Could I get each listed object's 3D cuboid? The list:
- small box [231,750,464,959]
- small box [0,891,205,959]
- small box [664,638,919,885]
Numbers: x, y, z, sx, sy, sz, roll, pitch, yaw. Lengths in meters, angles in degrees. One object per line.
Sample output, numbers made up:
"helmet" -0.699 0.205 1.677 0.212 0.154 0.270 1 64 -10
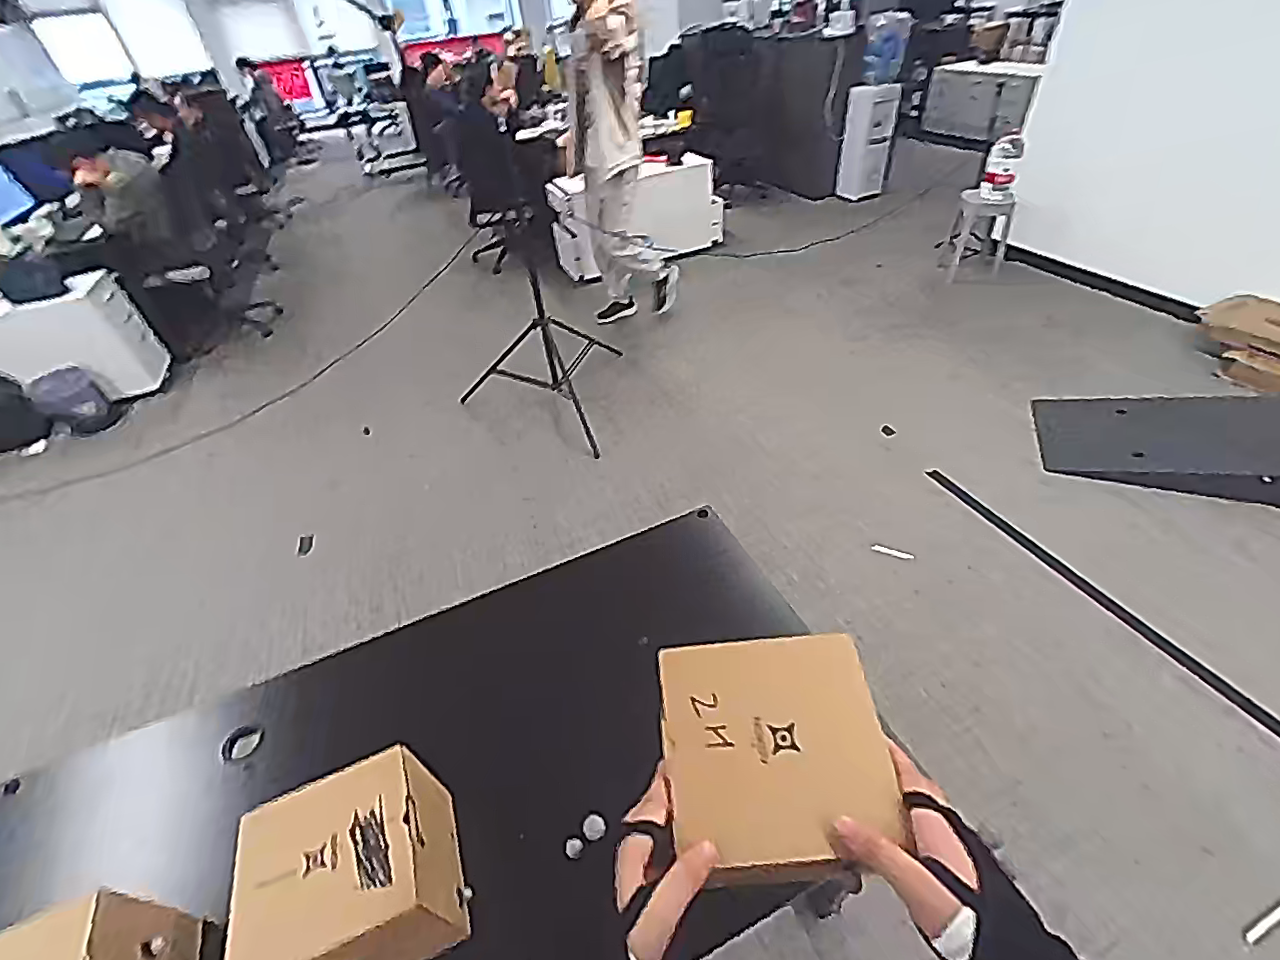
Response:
"small box" -0.311 0.446 0.607 0.179 0.176 0.168 -21 43 -13
"small box" -0.574 0.554 0.528 0.179 0.176 0.168 -23 43 -16
"small box" 0.118 0.261 0.496 0.179 0.176 0.168 -6 49 3
